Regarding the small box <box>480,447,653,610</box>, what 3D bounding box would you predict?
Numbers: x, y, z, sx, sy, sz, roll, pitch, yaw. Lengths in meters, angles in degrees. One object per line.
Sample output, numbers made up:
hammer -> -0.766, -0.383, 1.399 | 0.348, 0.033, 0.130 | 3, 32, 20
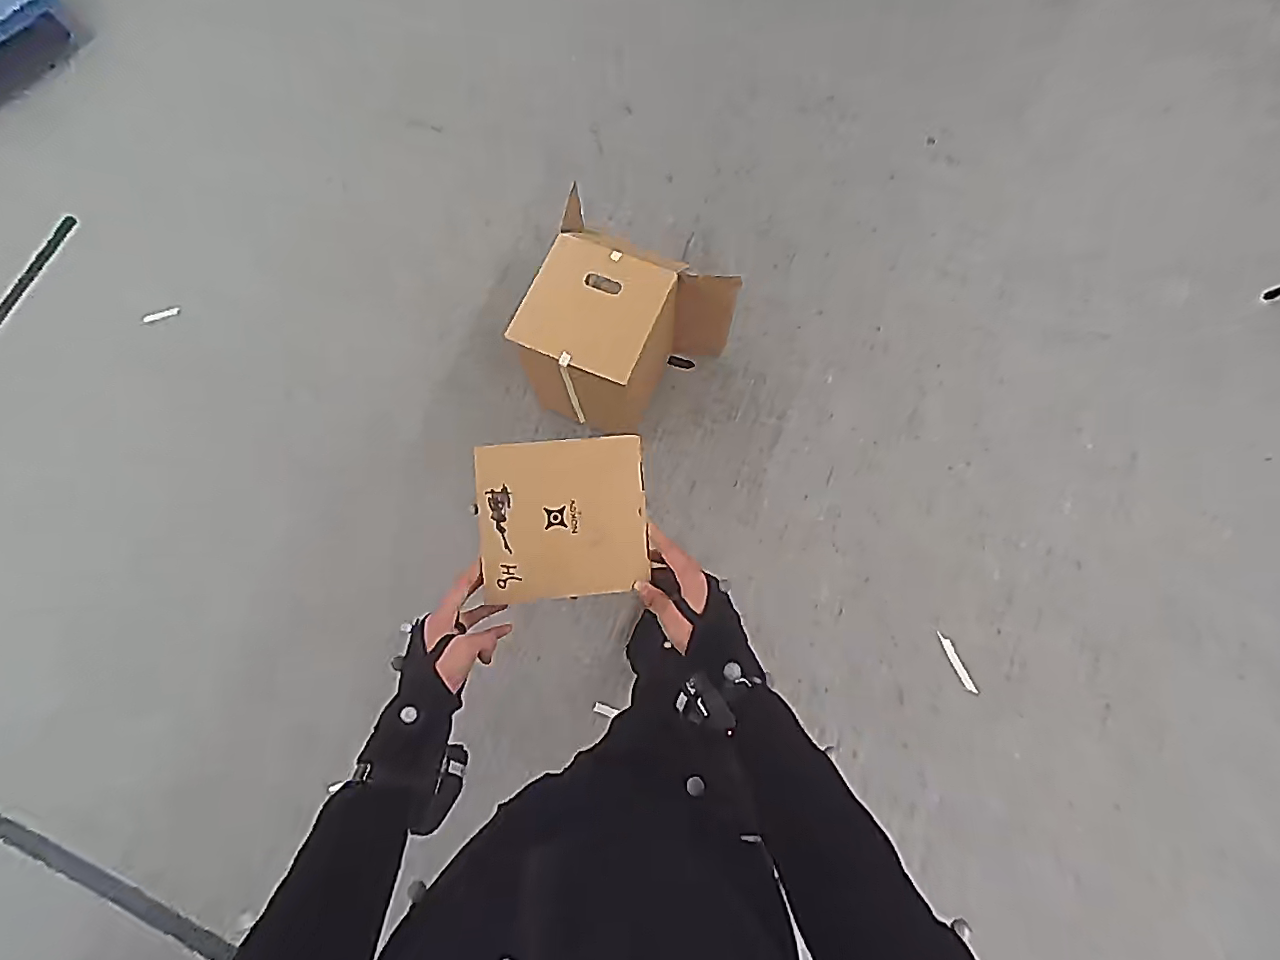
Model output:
small box -> -0.087, 0.055, 0.653 | 0.179, 0.176, 0.168 | -4, 86, -7
